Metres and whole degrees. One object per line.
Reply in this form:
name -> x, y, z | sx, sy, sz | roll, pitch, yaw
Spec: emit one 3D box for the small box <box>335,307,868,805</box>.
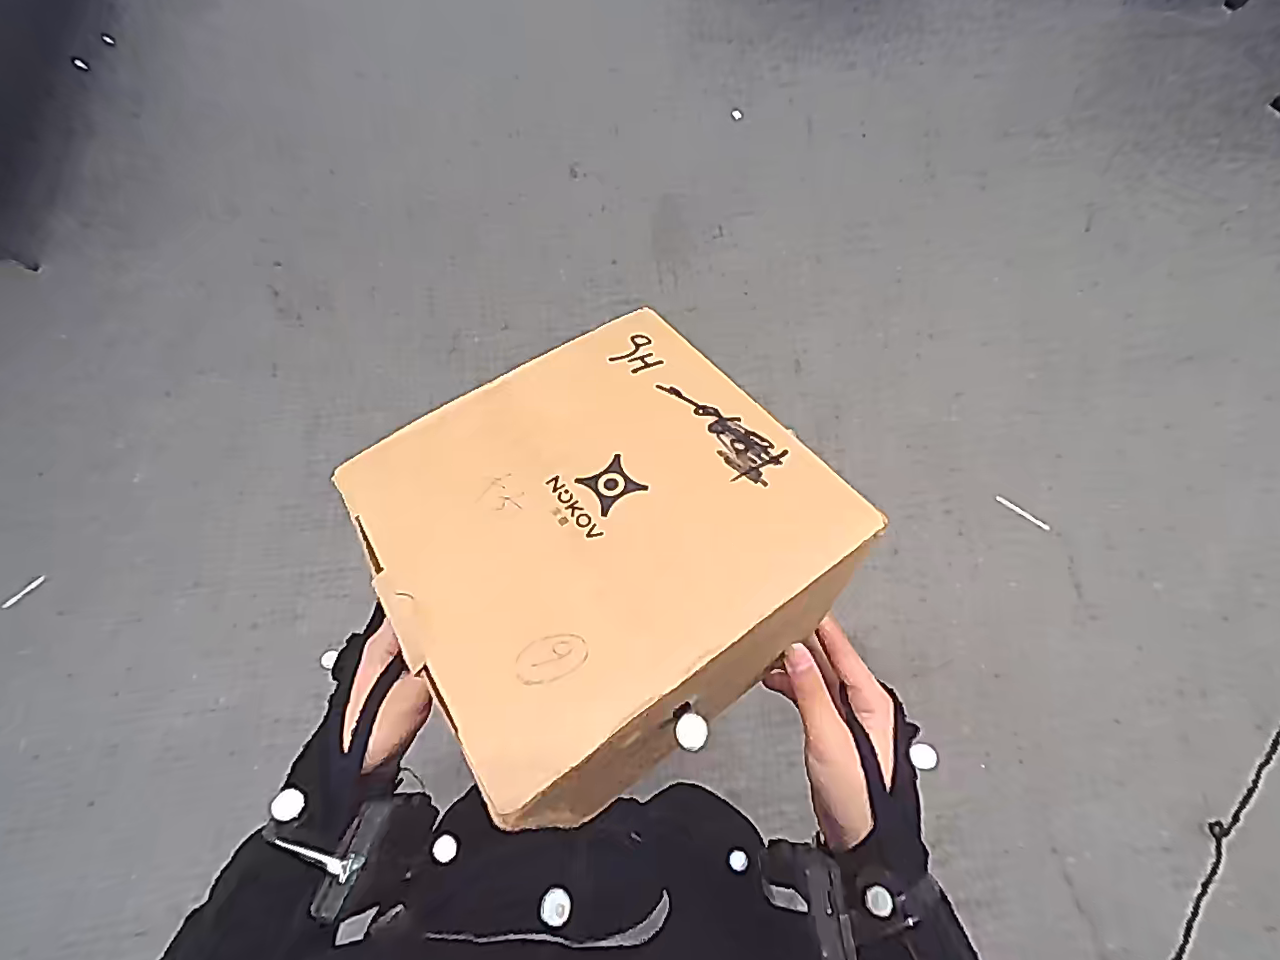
small box -> -0.017, 0.049, 0.294 | 0.179, 0.176, 0.168 | -32, 61, -15
